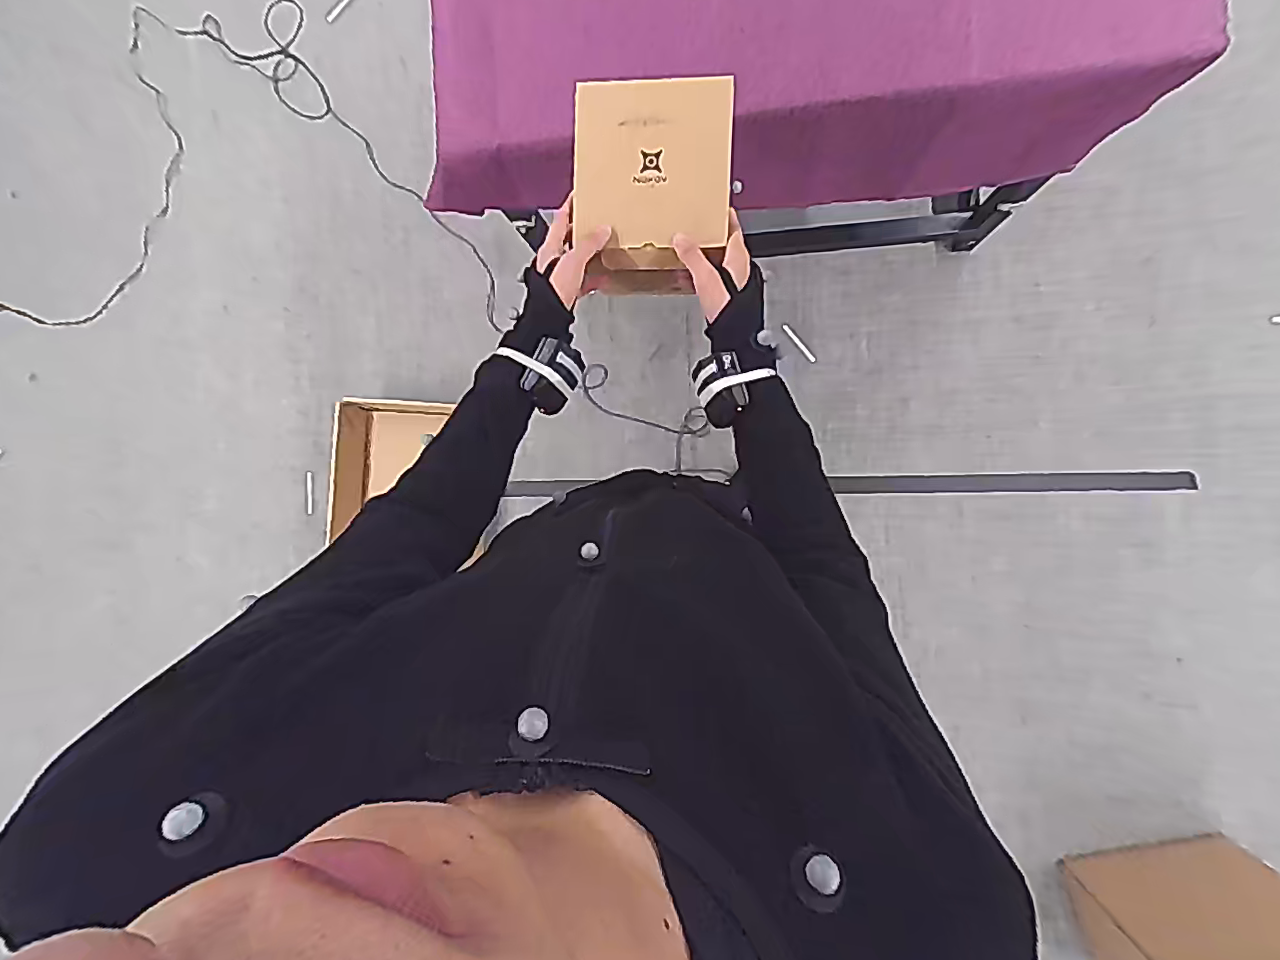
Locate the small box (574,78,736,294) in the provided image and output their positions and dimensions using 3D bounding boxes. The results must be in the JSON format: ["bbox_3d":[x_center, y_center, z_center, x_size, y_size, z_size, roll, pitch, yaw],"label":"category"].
[{"bbox_3d":[0.023,-0.329,0.640,0.168,0.176,0.179,2,93,6],"label":"small box"}]
